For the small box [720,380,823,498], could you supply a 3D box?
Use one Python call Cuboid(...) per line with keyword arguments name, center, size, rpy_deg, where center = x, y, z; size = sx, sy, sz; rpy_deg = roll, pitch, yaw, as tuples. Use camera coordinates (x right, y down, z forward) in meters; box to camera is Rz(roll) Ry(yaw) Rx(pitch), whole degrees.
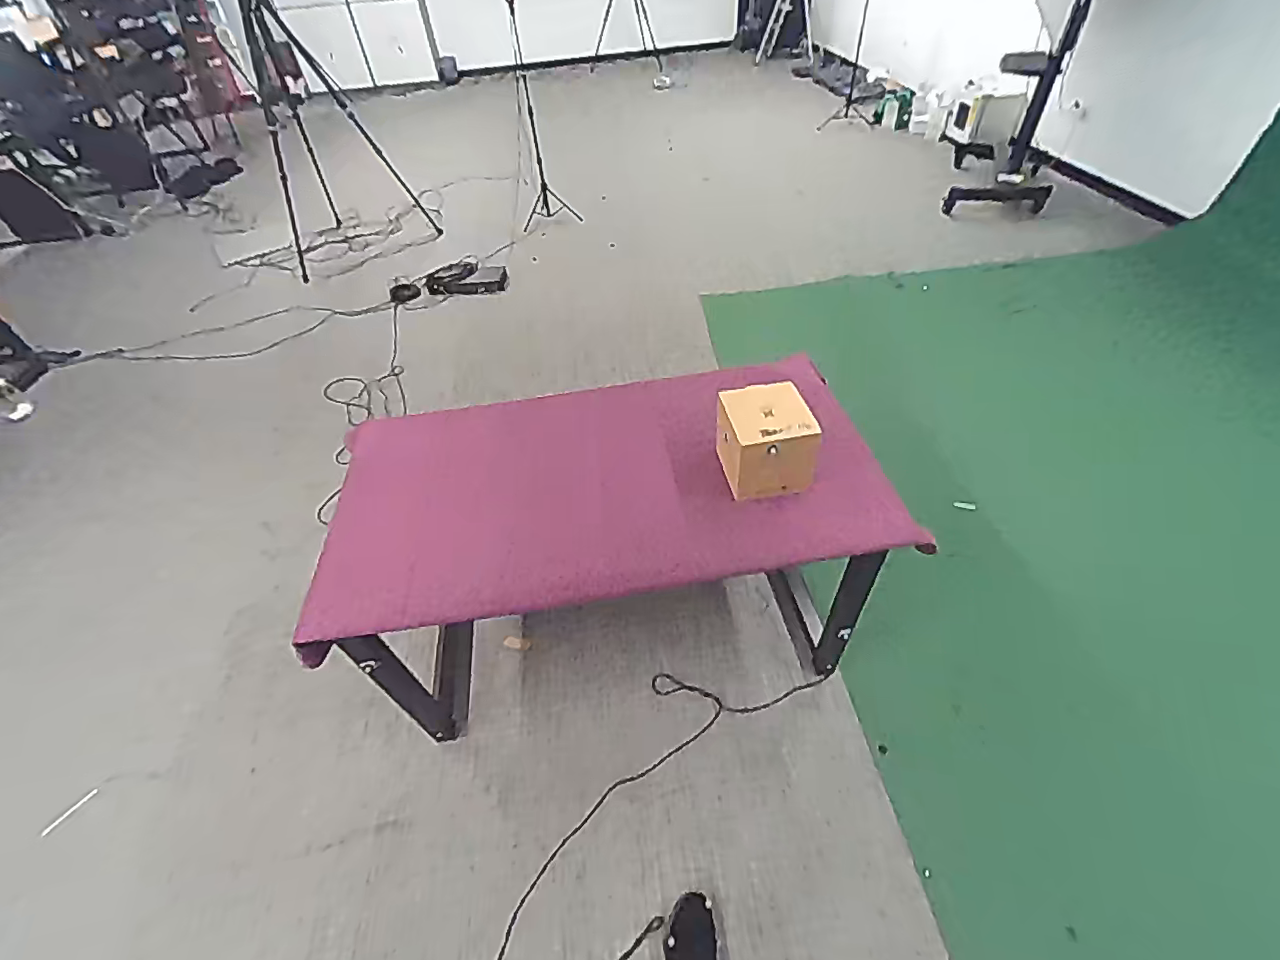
Cuboid(name="small box", center=(0.269, -0.087, 1.153), size=(0.168, 0.176, 0.179), rpy_deg=(-10, 46, -2))
